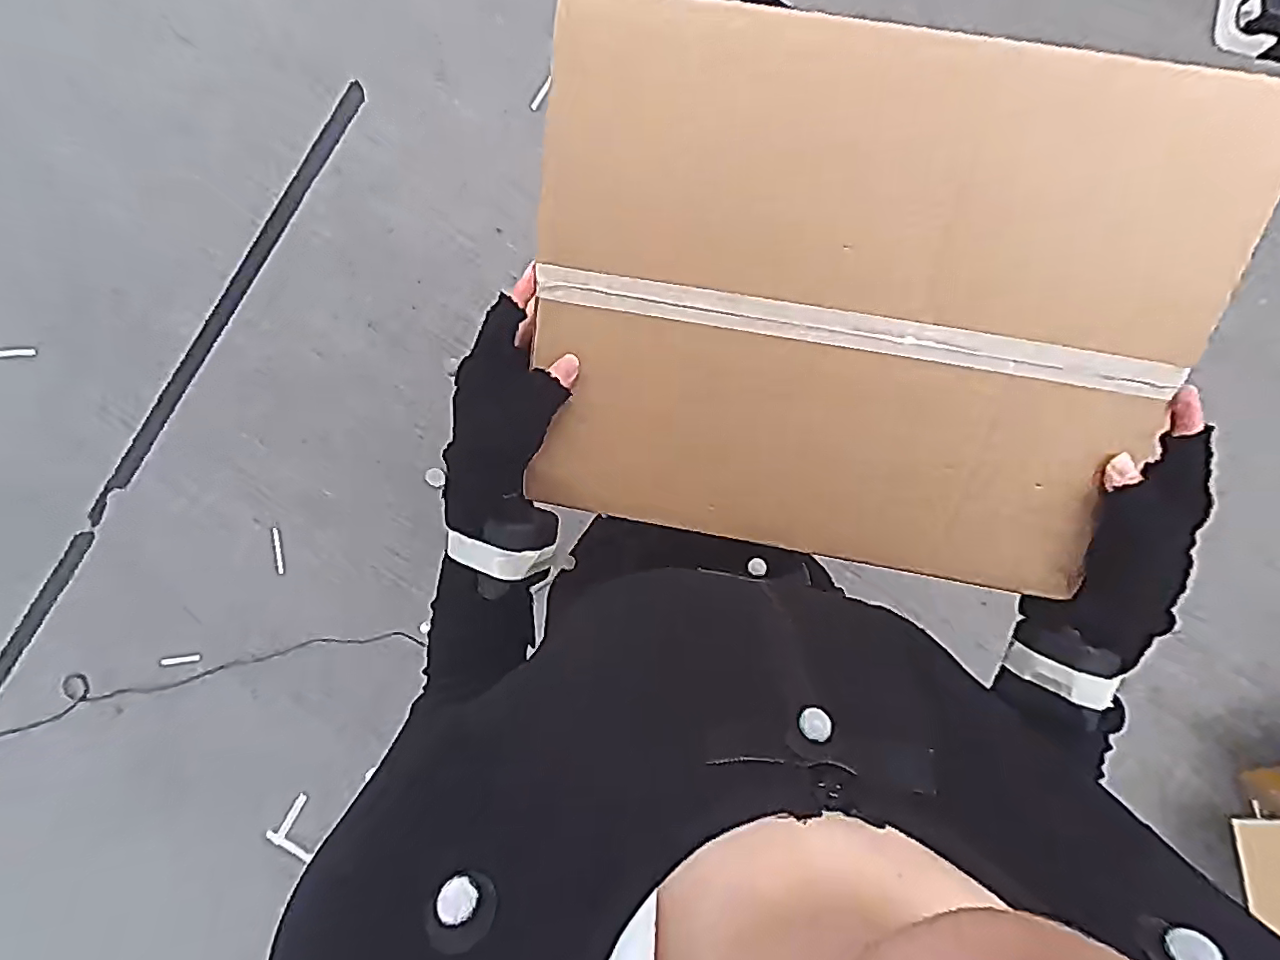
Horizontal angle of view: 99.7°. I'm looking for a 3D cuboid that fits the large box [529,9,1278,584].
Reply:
[{"bbox_3d":[0.144,-0.146,0.492,0.408,0.320,0.320,11,111,3],"label":"large box"}]
